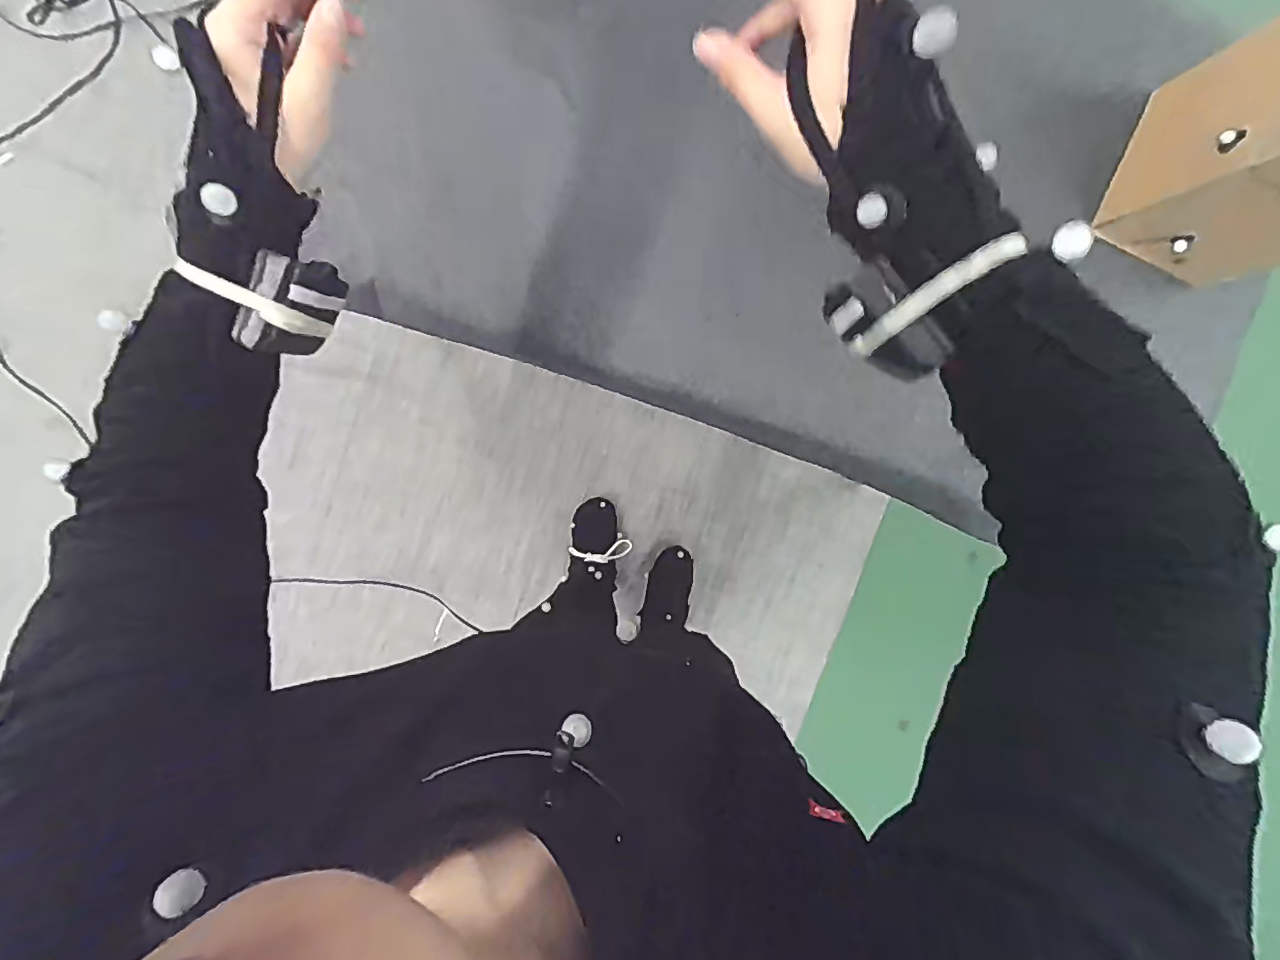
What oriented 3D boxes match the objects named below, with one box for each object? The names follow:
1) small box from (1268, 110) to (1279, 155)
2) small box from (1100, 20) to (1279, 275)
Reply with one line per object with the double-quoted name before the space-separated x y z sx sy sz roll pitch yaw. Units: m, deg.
"small box" 0.657 -0.320 0.404 0.168 0.176 0.179 22 96 -7
"small box" 0.647 -0.345 0.566 0.168 0.176 0.179 21 95 -7
